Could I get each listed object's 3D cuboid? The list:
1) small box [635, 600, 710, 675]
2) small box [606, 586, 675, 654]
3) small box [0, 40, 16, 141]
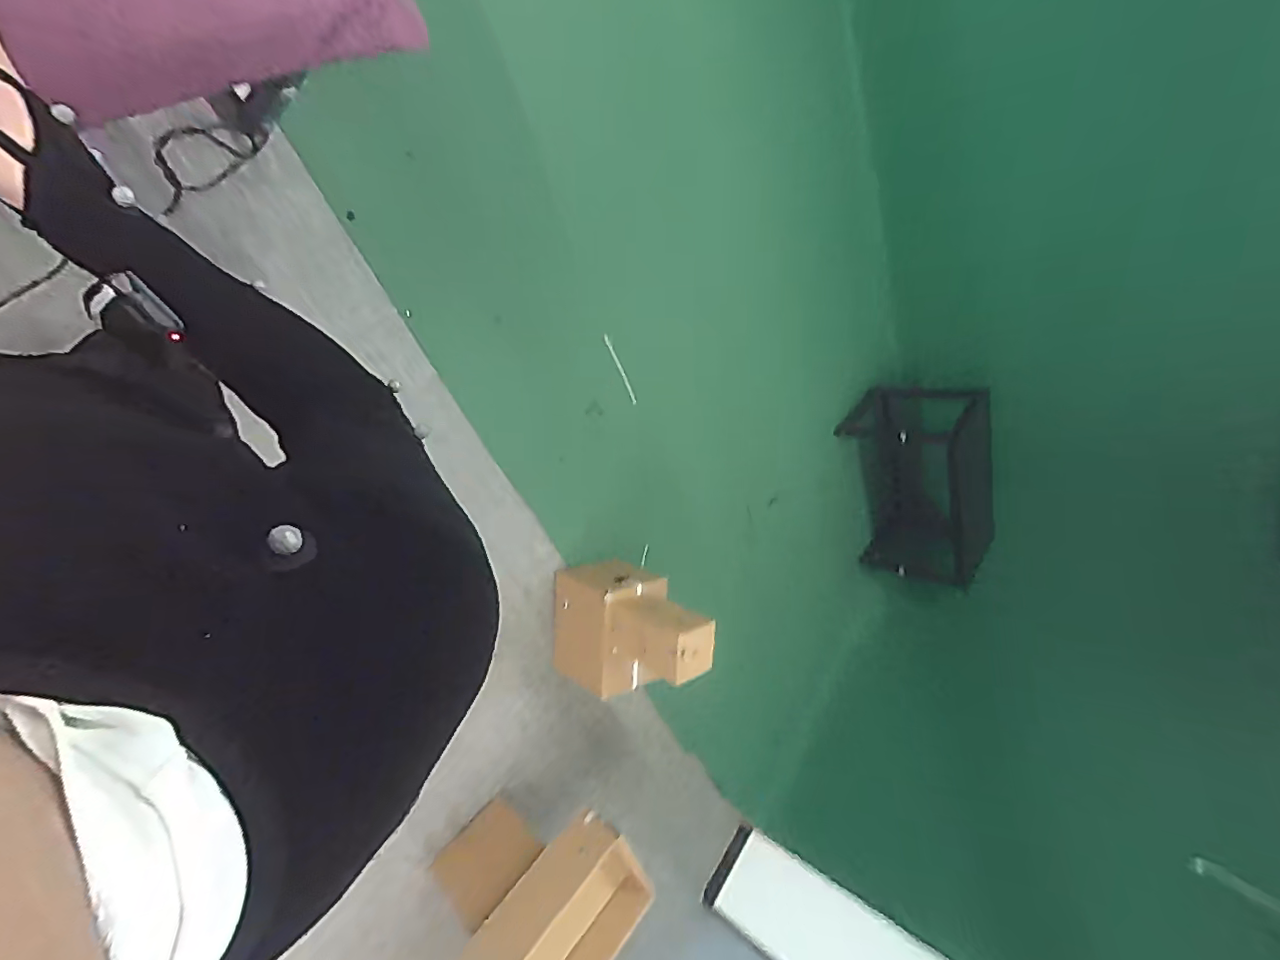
[{"bbox_3d":[0.107,0.510,1.784,0.179,0.176,0.168,-7,103,-44],"label":"small box"},{"bbox_3d":[0.001,0.485,1.907,0.179,0.176,0.168,-6,102,-43],"label":"small box"},{"bbox_3d":[-0.611,-0.382,0.400,0.168,0.176,0.179,-11,112,-41],"label":"small box"}]
